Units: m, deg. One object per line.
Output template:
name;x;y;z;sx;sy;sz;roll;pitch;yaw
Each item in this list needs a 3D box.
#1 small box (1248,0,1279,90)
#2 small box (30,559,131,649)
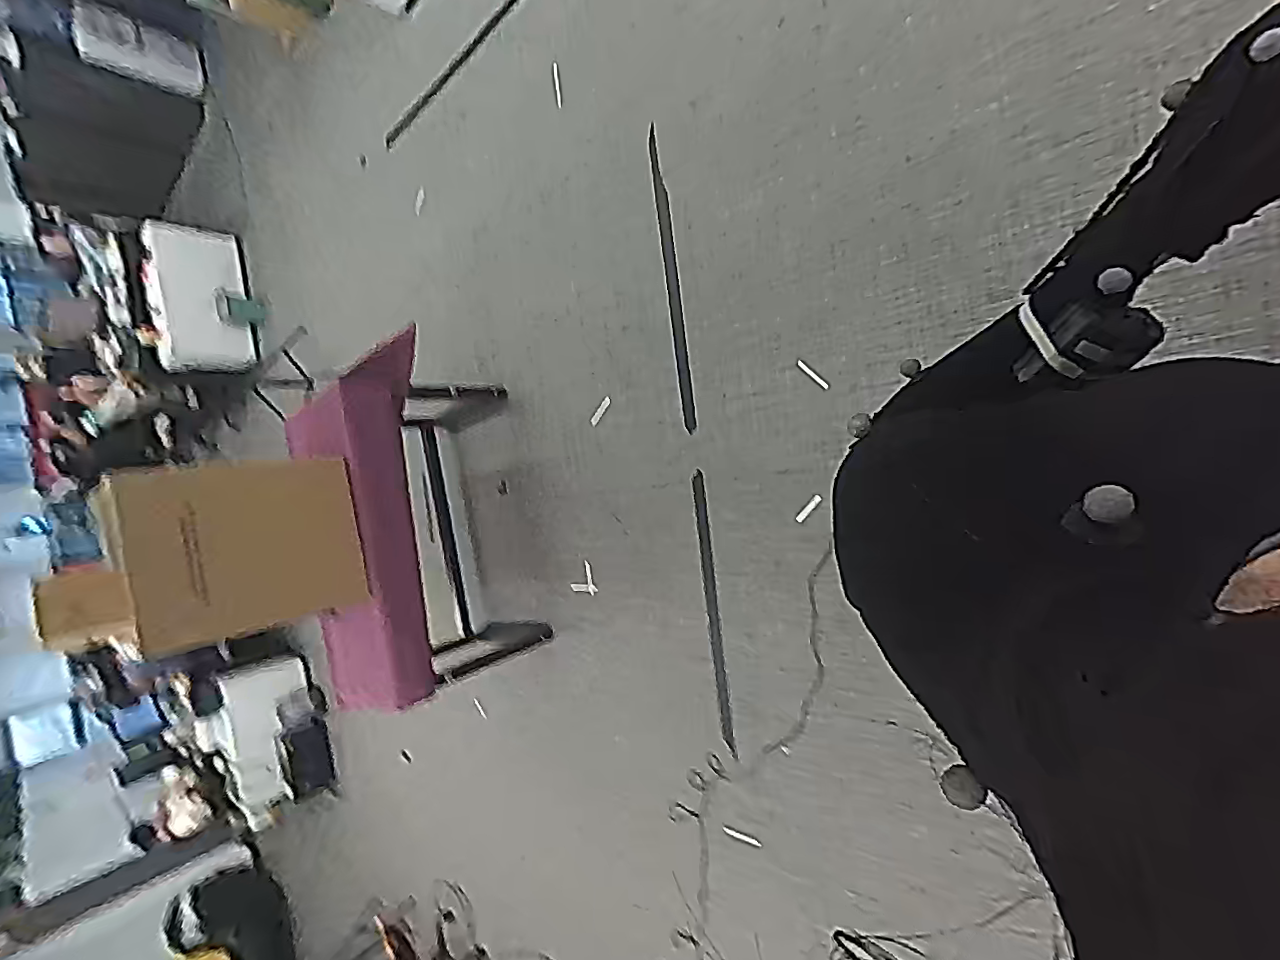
small box;0.441;-0.276;0.240;0.168;0.176;0.179;29;127;23
small box;-1.539;0.337;1.490;0.168;0.176;0.179;-31;77;37
